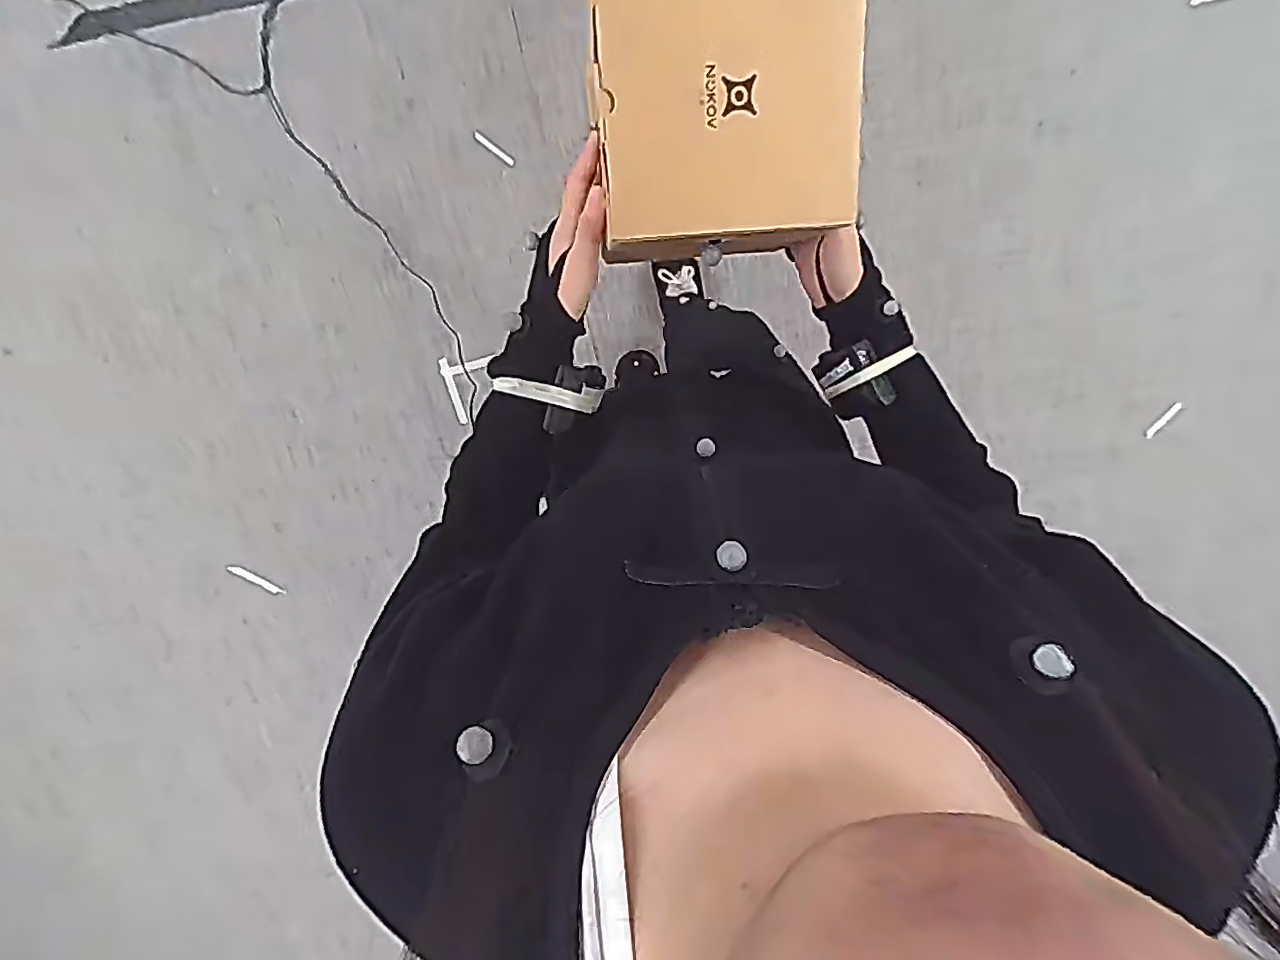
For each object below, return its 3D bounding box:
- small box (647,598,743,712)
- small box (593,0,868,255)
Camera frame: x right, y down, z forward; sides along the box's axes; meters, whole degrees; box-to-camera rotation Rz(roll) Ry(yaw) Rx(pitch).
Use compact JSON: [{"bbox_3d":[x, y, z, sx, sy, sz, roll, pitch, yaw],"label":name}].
[{"bbox_3d":[0.119,0.386,1.217,0.179,0.176,0.168,-13,104,1],"label":"small box"},{"bbox_3d":[0.055,-0.277,0.430,0.179,0.176,0.168,-5,108,-2],"label":"small box"}]
